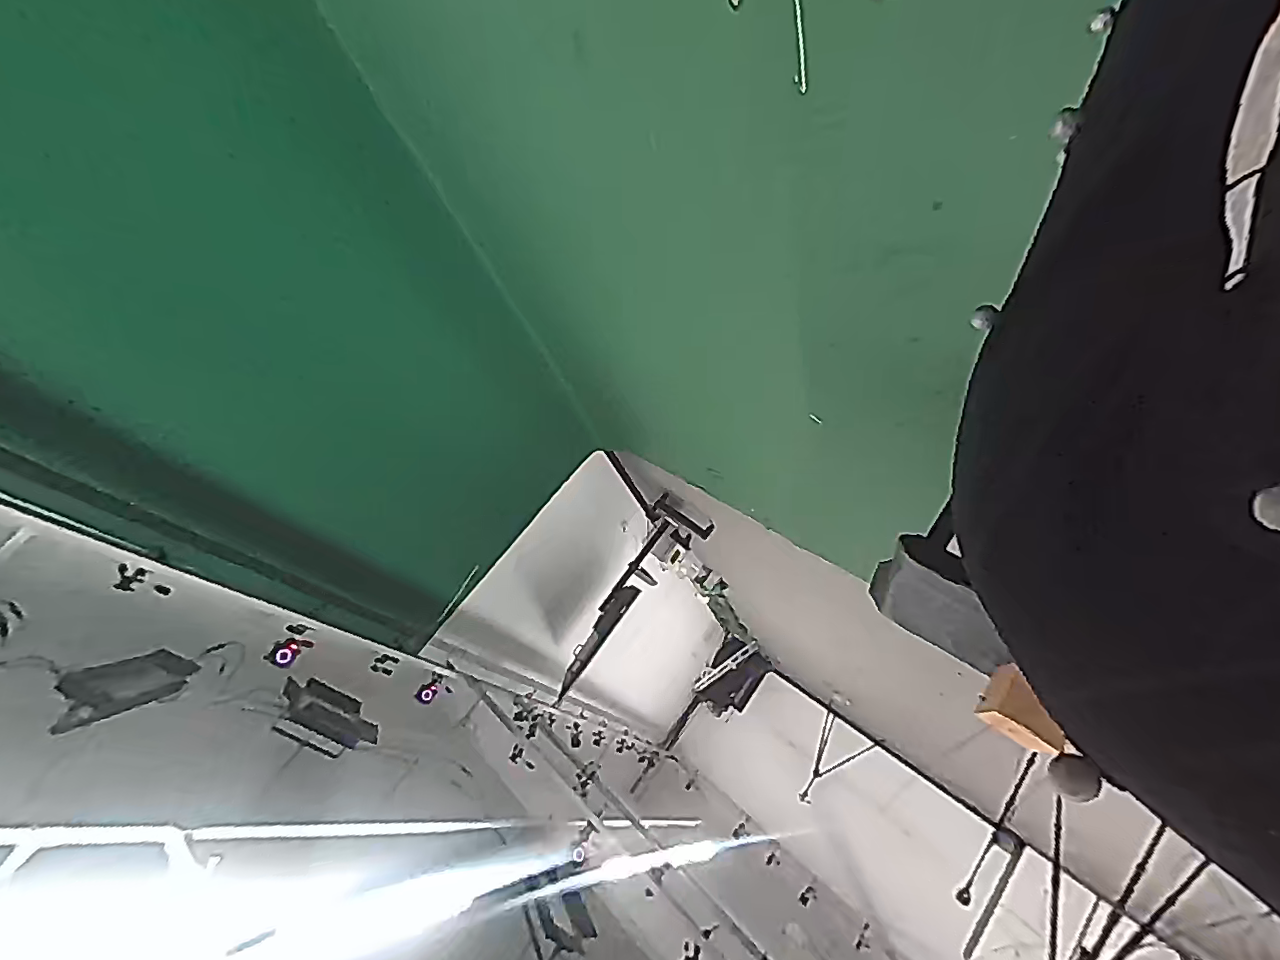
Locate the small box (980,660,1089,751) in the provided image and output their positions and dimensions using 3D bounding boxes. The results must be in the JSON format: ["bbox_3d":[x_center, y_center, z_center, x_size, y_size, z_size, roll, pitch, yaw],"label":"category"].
[{"bbox_3d":[1.100,0.628,1.511,0.168,0.176,0.179,33,165,24],"label":"small box"}]
